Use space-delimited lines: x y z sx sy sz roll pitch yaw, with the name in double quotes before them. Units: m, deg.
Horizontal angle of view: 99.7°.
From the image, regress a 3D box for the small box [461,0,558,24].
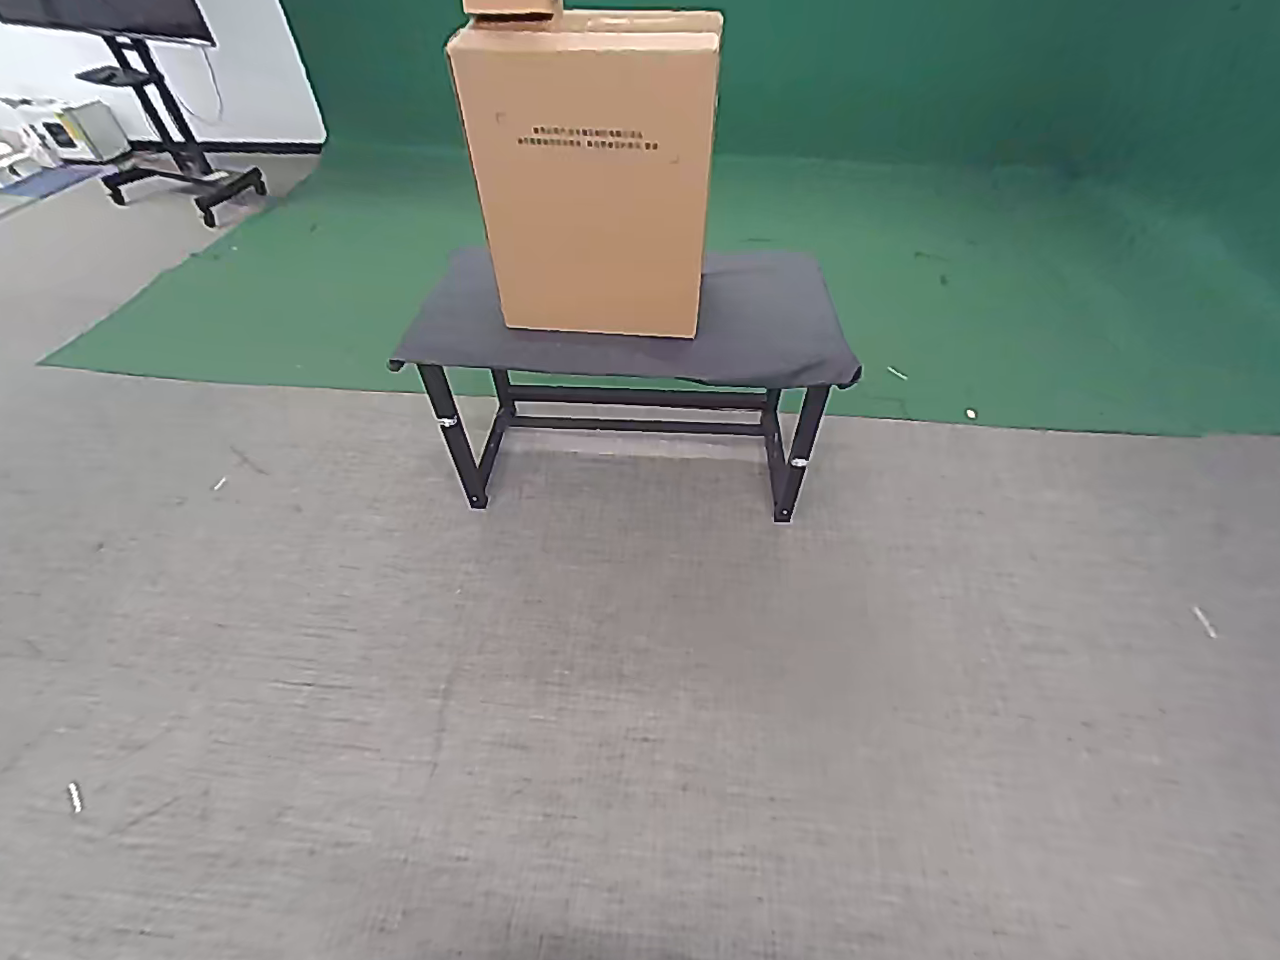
"small box" -0.272 -1.052 1.109 0.179 0.176 0.168 4 41 1
